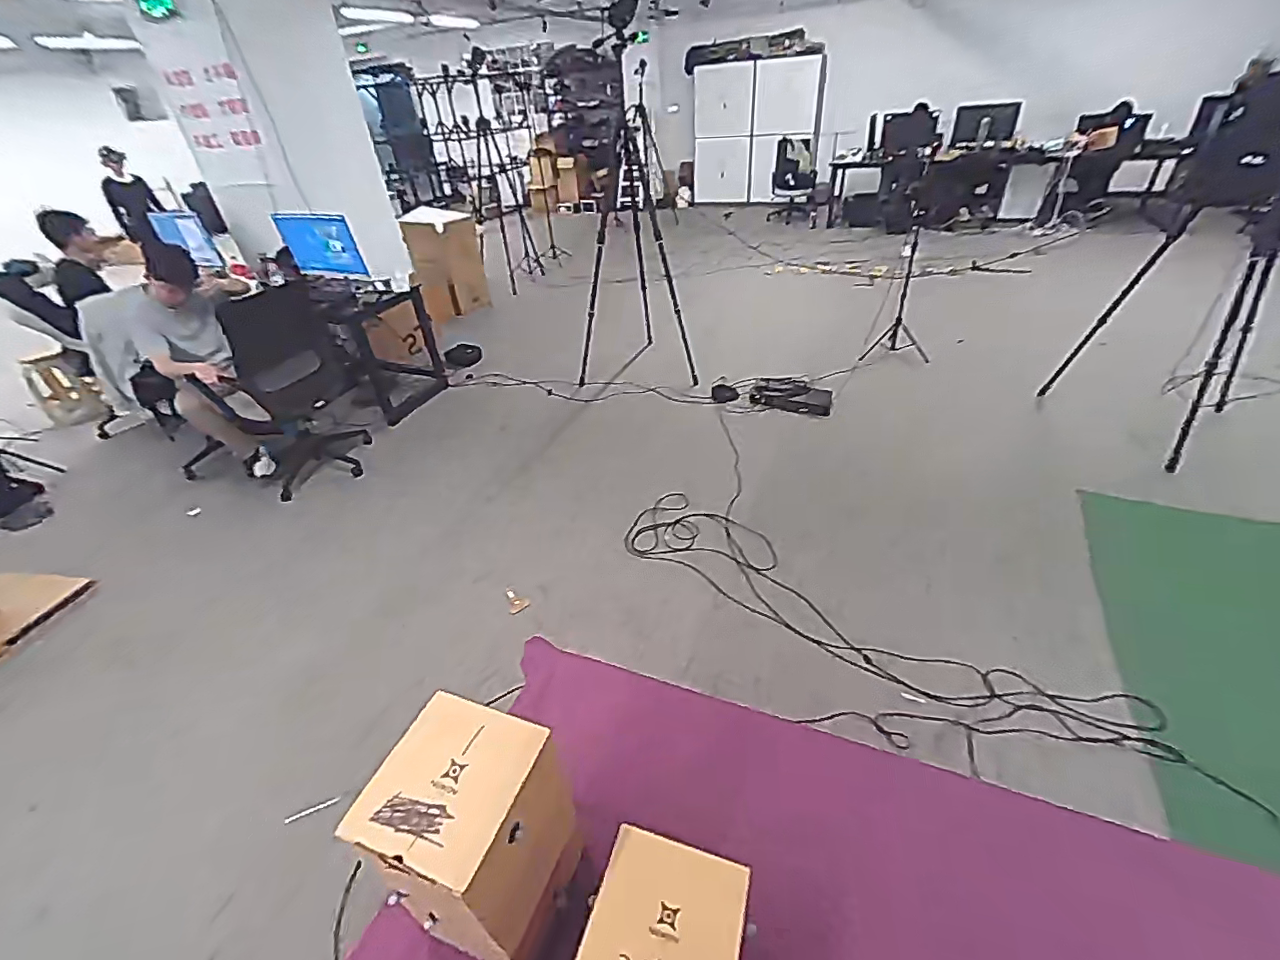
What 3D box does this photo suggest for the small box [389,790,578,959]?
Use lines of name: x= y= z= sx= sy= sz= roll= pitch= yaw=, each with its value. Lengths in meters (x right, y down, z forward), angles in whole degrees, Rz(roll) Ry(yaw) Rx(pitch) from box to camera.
small box: x=-0.197 y=0.525 z=0.739 sx=0.168 sy=0.176 sz=0.179 roll=9 pitch=37 yaw=20

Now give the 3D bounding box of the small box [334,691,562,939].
small box: x=-0.207 y=0.393 z=0.642 sx=0.168 sy=0.176 sz=0.179 roll=10 pitch=38 yaw=19

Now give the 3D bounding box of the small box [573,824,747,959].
small box: x=0.023 y=0.561 z=0.637 sx=0.168 sy=0.176 sz=0.179 roll=10 pitch=32 yaw=15
